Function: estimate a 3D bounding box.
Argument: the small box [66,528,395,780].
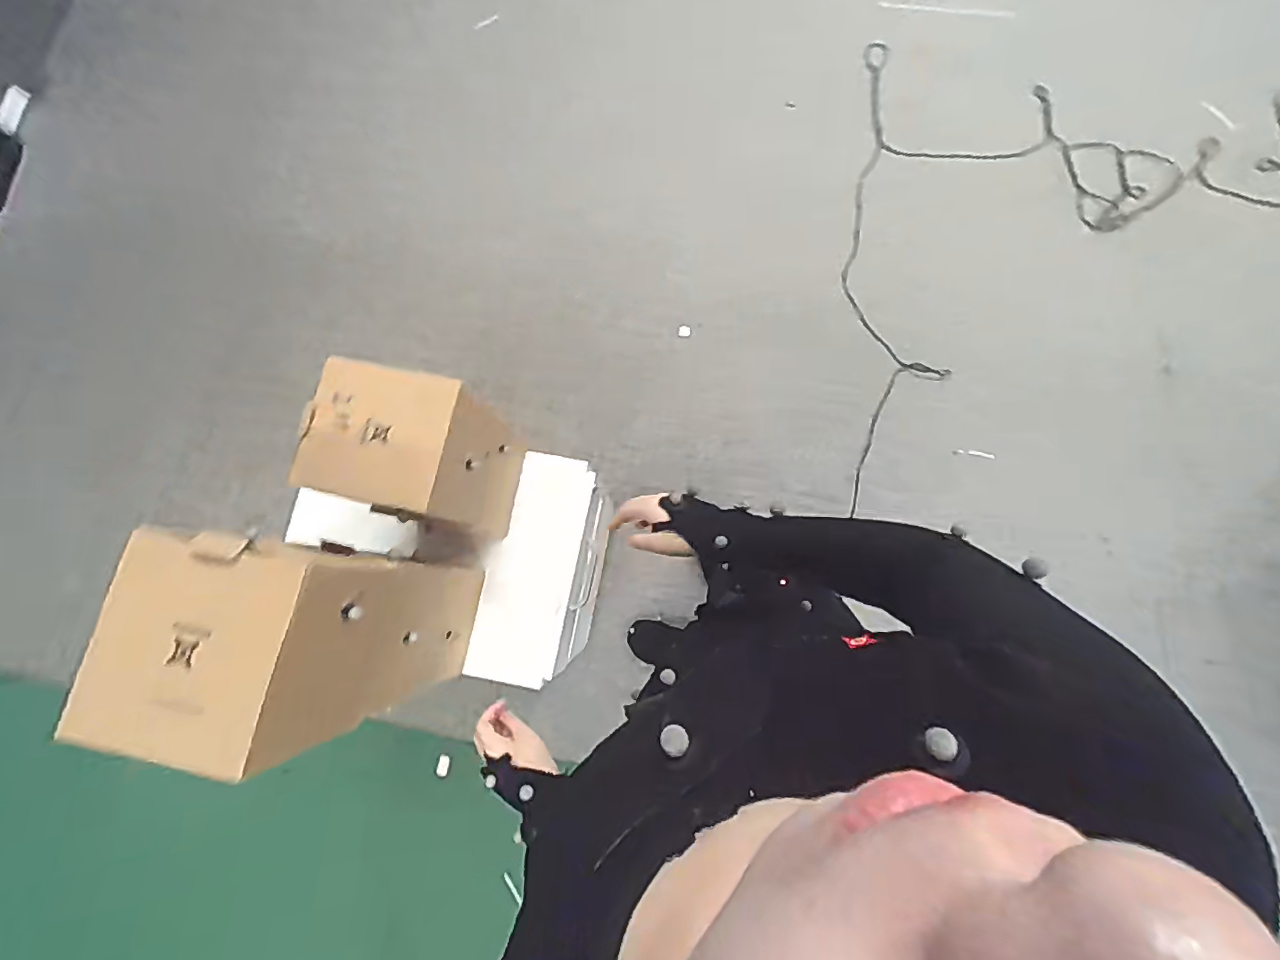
[{"bbox_3d":[-0.367,0.154,0.525,0.168,0.176,0.179,10,81,6],"label":"small box"}]

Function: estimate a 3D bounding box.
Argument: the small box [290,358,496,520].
[{"bbox_3d":[-0.312,-0.044,0.724,0.179,0.176,0.168,10,81,5],"label":"small box"}]

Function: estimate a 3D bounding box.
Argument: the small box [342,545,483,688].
[{"bbox_3d":[-0.363,0.207,0.849,0.168,0.176,0.179,9,79,4],"label":"small box"}]
